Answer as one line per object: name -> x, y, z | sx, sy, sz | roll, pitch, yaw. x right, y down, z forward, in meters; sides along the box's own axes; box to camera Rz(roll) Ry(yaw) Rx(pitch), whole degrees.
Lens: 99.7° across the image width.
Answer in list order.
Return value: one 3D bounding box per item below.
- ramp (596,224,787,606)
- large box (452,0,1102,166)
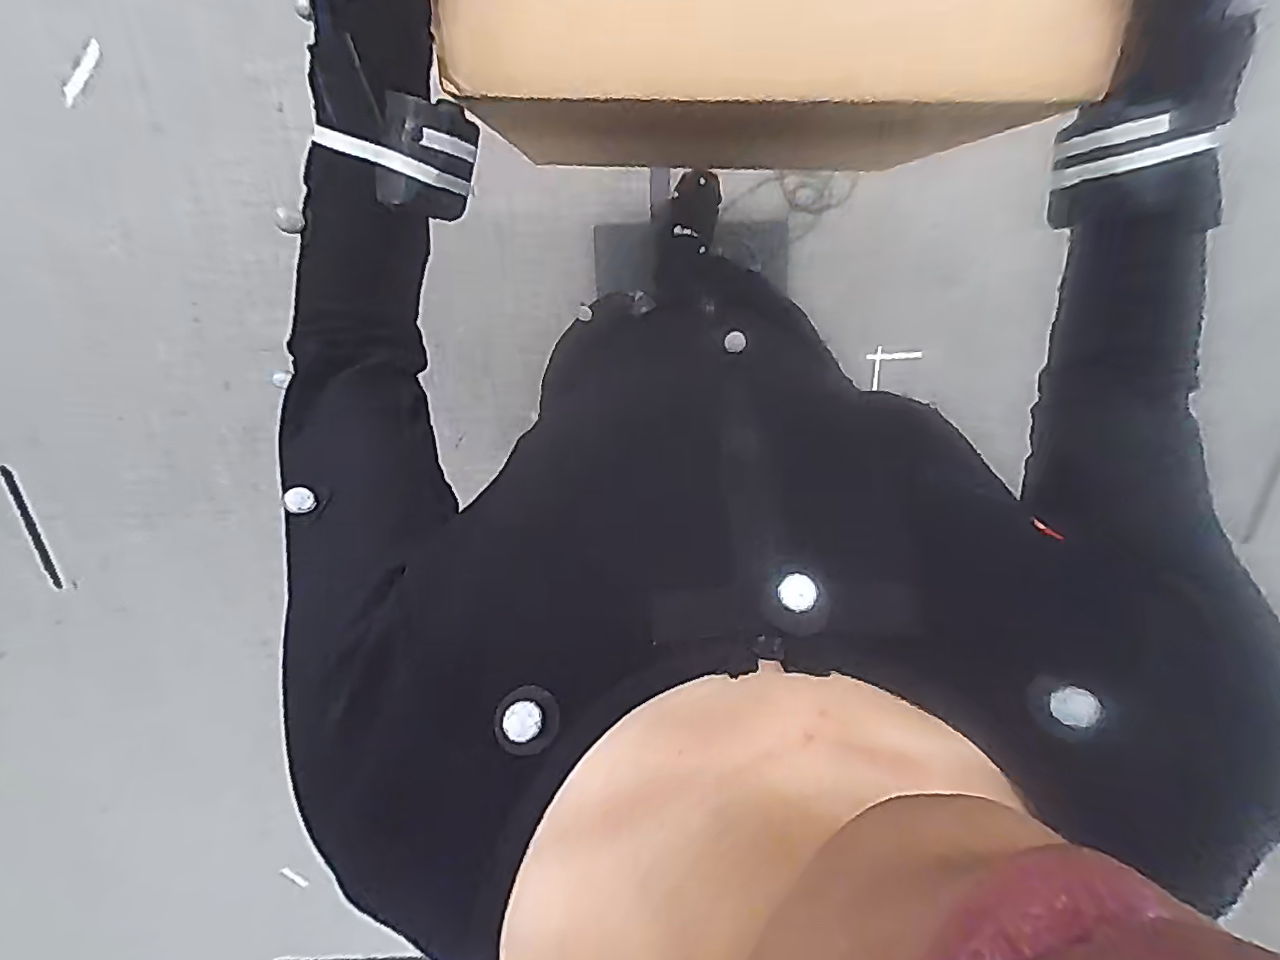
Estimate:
ramp -> 0.147, -0.146, 1.446 | 0.509, 0.206, 0.991 | -3, 109, 1
large box -> 0.079, -0.448, 0.423 | 0.408, 0.320, 0.320 | 0, 113, -1
